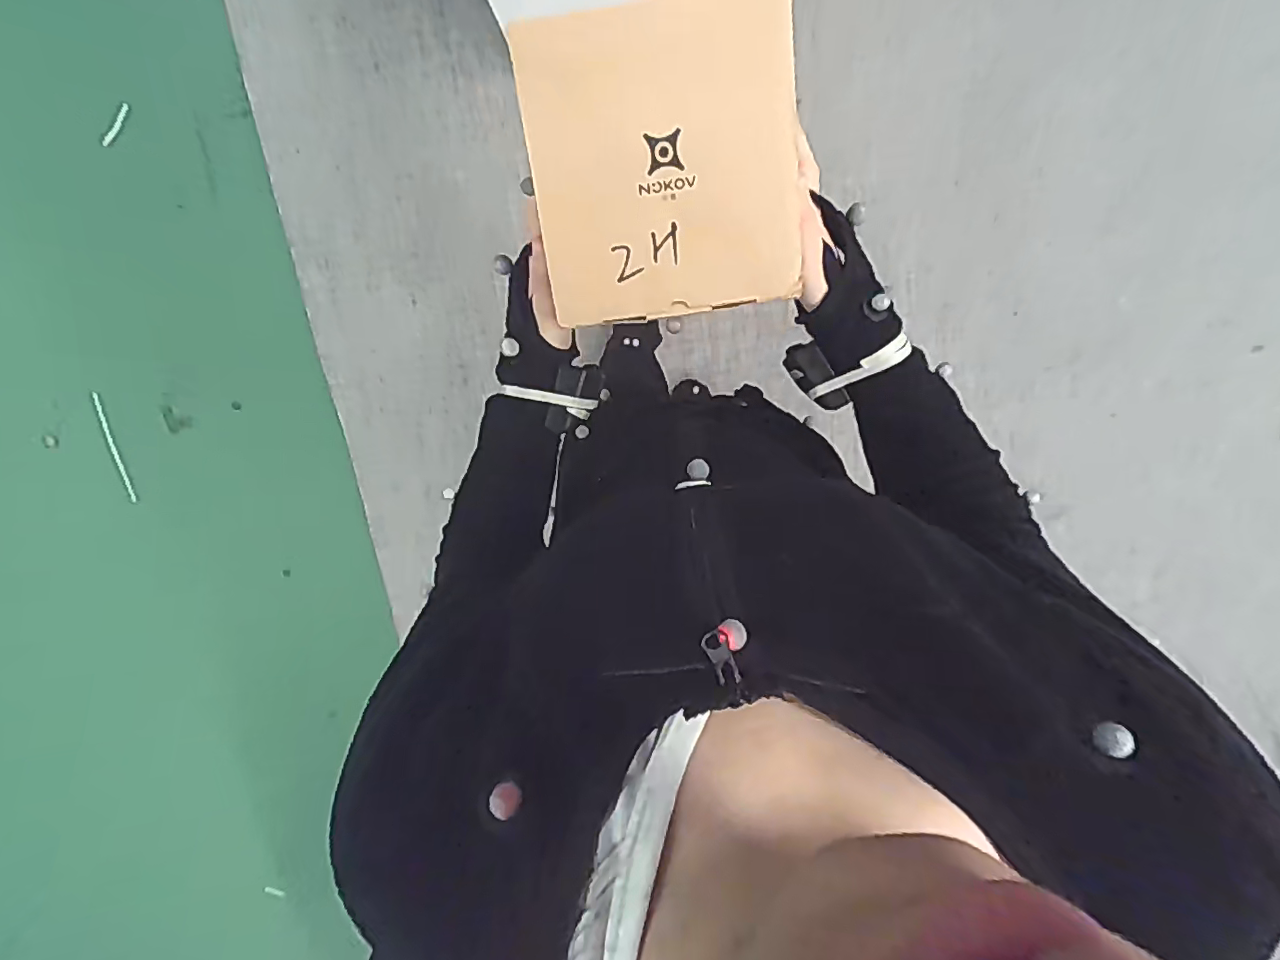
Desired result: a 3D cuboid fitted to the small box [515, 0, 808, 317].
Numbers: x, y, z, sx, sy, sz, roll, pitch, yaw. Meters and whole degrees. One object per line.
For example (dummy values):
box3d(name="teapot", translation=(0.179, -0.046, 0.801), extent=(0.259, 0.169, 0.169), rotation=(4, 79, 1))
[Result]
box3d(name="small box", translation=(0.019, -0.223, 0.406), extent=(0.168, 0.176, 0.179), rotation=(-7, 106, 4))
